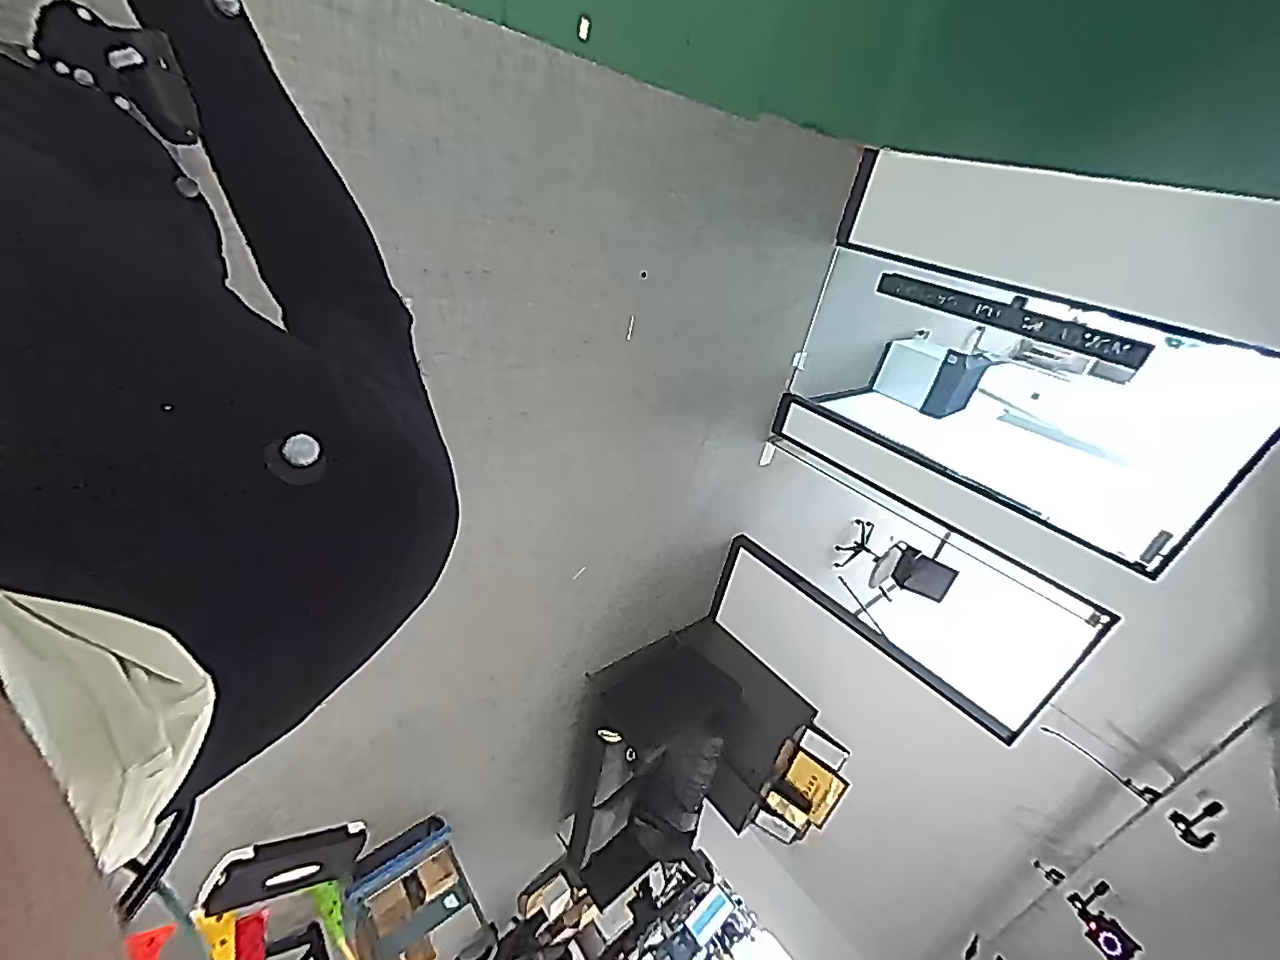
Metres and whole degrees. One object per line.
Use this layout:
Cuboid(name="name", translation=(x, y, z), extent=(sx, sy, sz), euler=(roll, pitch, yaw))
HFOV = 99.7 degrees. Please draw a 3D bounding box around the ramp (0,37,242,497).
Cuboid(name="ramp", translation=(-1.252, -0.380, 1.203), extent=(0.509, 0.206, 0.991), euler=(-18, 132, -38))
